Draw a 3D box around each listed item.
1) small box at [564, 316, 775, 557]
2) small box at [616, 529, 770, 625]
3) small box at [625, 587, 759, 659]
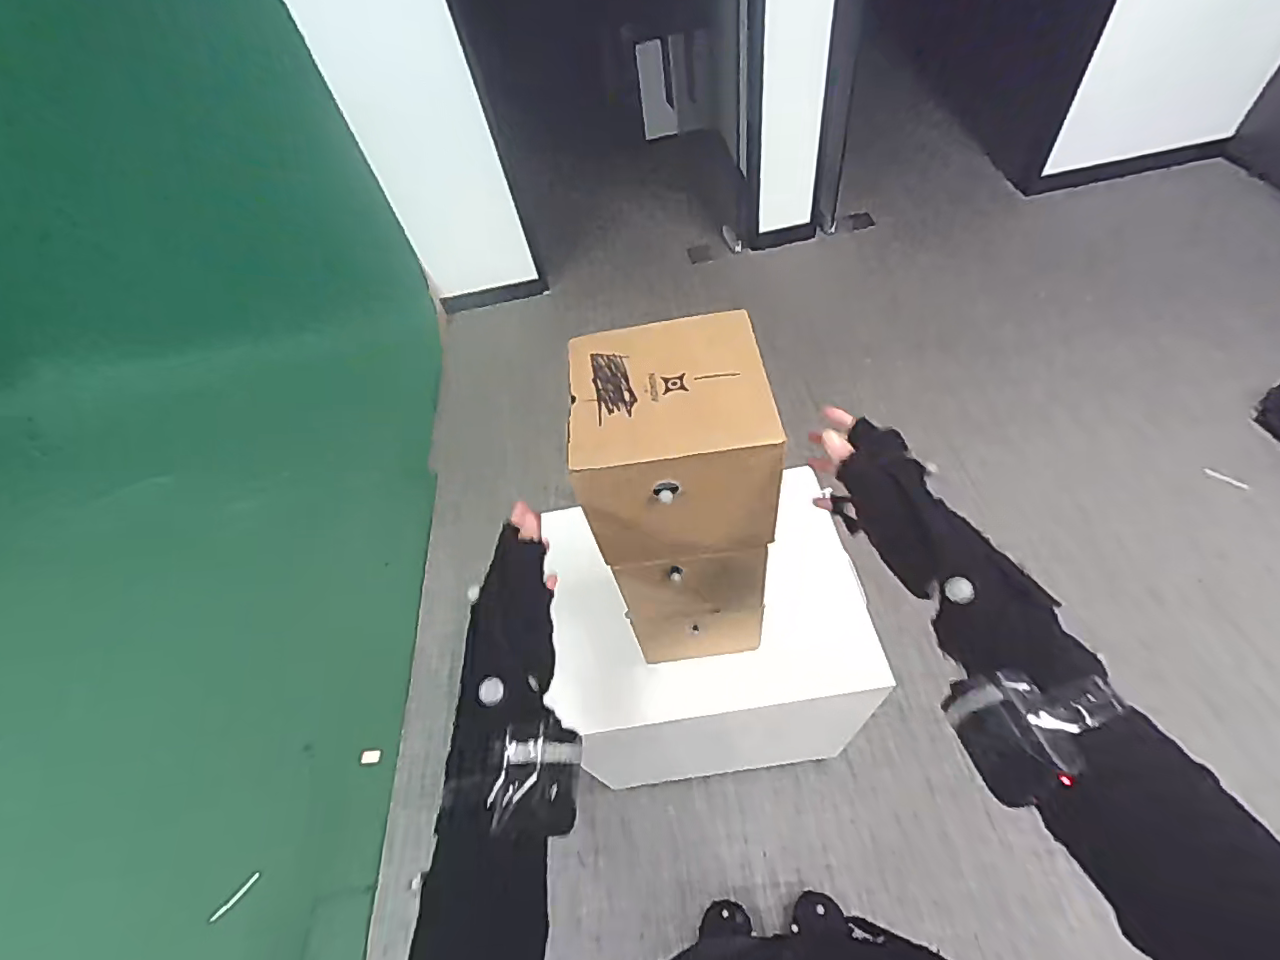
[{"bbox_3d":[0.031,-0.035,0.545,0.179,0.176,0.168,-8,54,4],"label":"small box"},{"bbox_3d":[0.056,0.061,0.679,0.168,0.176,0.179,-9,54,2],"label":"small box"},{"bbox_3d":[0.074,0.156,0.808,0.179,0.176,0.168,-8,54,3],"label":"small box"}]
